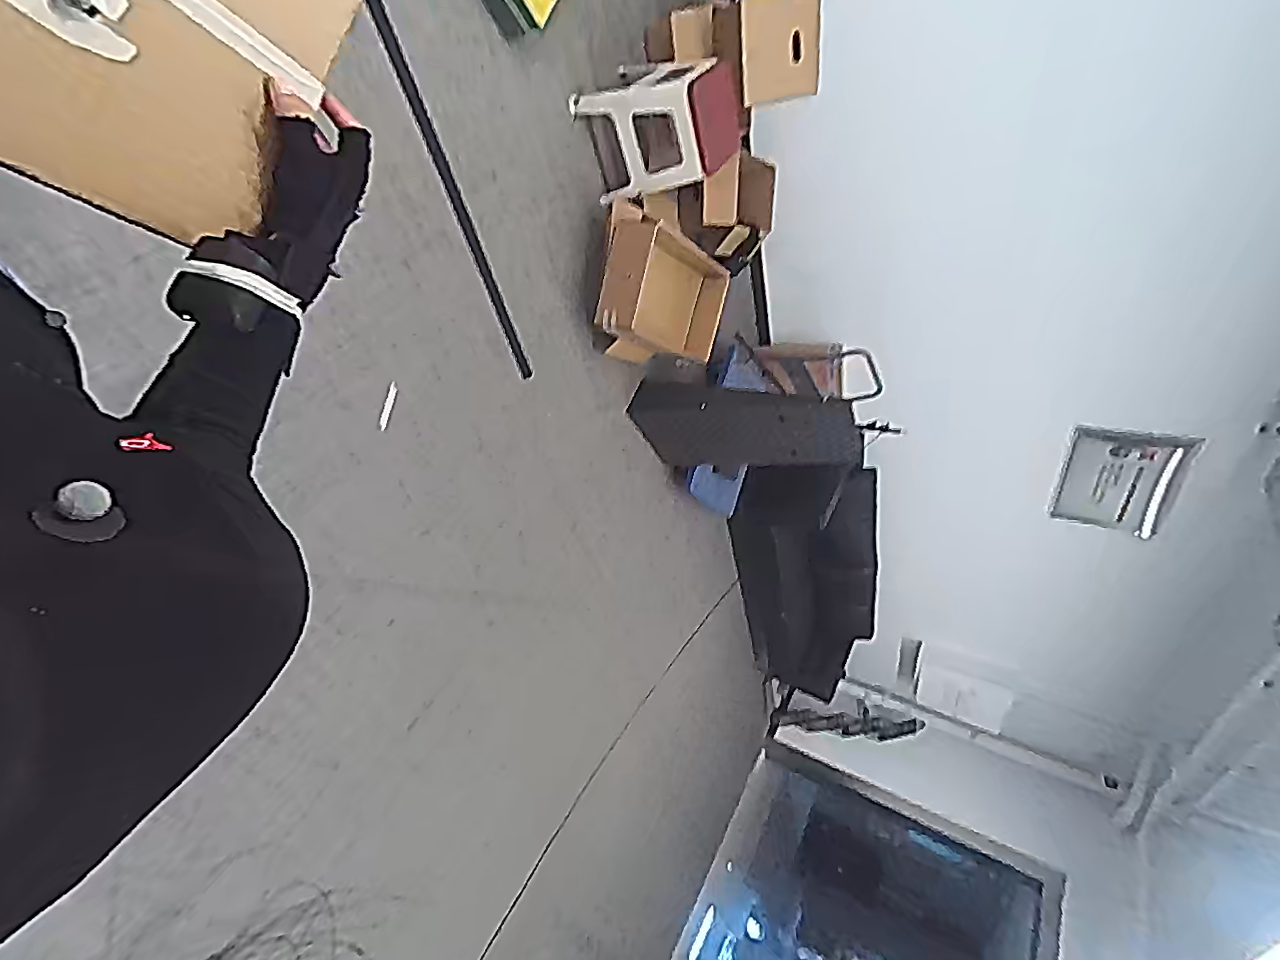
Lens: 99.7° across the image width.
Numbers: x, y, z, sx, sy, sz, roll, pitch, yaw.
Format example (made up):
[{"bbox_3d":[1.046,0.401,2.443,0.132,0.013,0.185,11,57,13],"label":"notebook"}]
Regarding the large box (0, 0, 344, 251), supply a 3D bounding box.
[{"bbox_3d":[-0.496,-0.420,0.370,0.408,0.320,0.320,18,98,-58],"label":"large box"}]
